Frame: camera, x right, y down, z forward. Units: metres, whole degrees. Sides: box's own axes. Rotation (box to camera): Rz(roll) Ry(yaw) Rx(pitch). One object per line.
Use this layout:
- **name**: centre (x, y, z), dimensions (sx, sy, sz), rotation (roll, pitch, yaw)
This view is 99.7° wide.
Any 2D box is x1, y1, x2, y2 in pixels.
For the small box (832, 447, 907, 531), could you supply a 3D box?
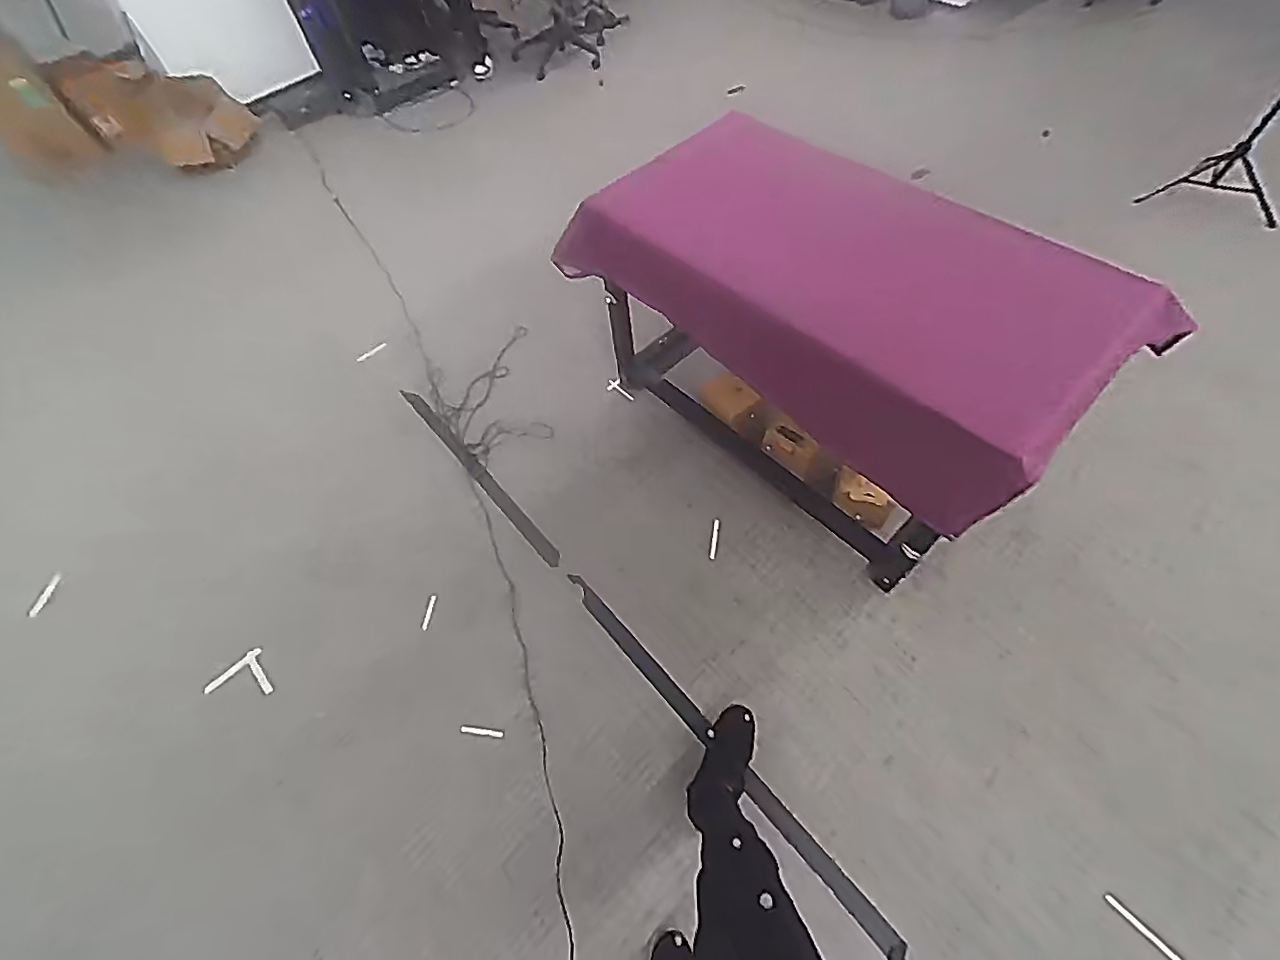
- **small box**: centre (0.700, 0.030, 1.658), dimensions (0.168, 0.176, 0.179), rotation (14, 60, 14)
